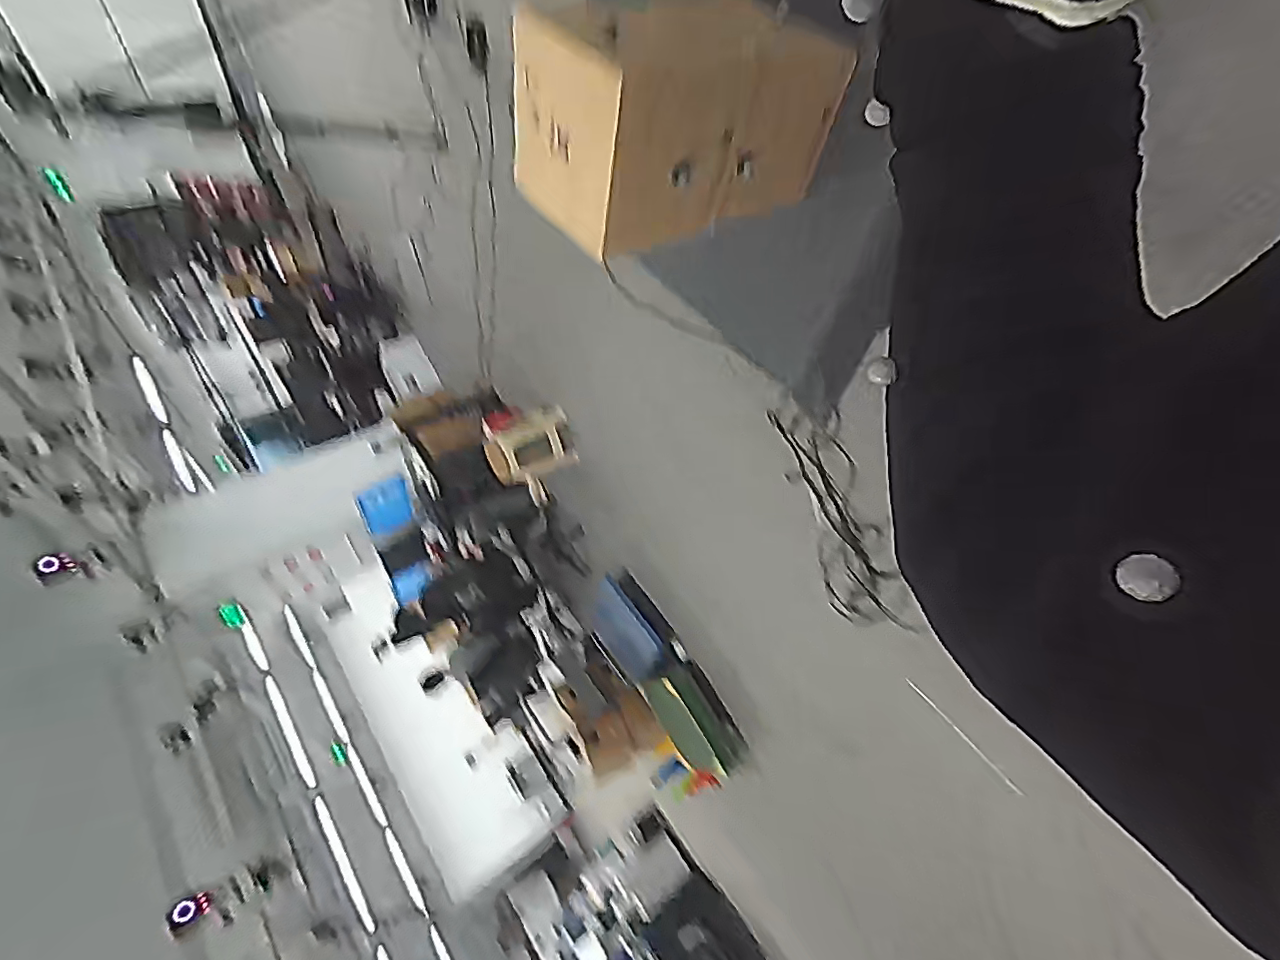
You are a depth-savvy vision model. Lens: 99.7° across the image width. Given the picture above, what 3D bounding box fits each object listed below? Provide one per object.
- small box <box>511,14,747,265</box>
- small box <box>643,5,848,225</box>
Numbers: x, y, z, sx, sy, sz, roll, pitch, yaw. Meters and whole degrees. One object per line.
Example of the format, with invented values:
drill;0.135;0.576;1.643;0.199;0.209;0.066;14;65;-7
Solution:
small box;-0.018;-0.361;0.571;0.179;0.176;0.168;48;147;24
small box;0.107;-0.436;0.650;0.179;0.176;0.168;48;148;25
